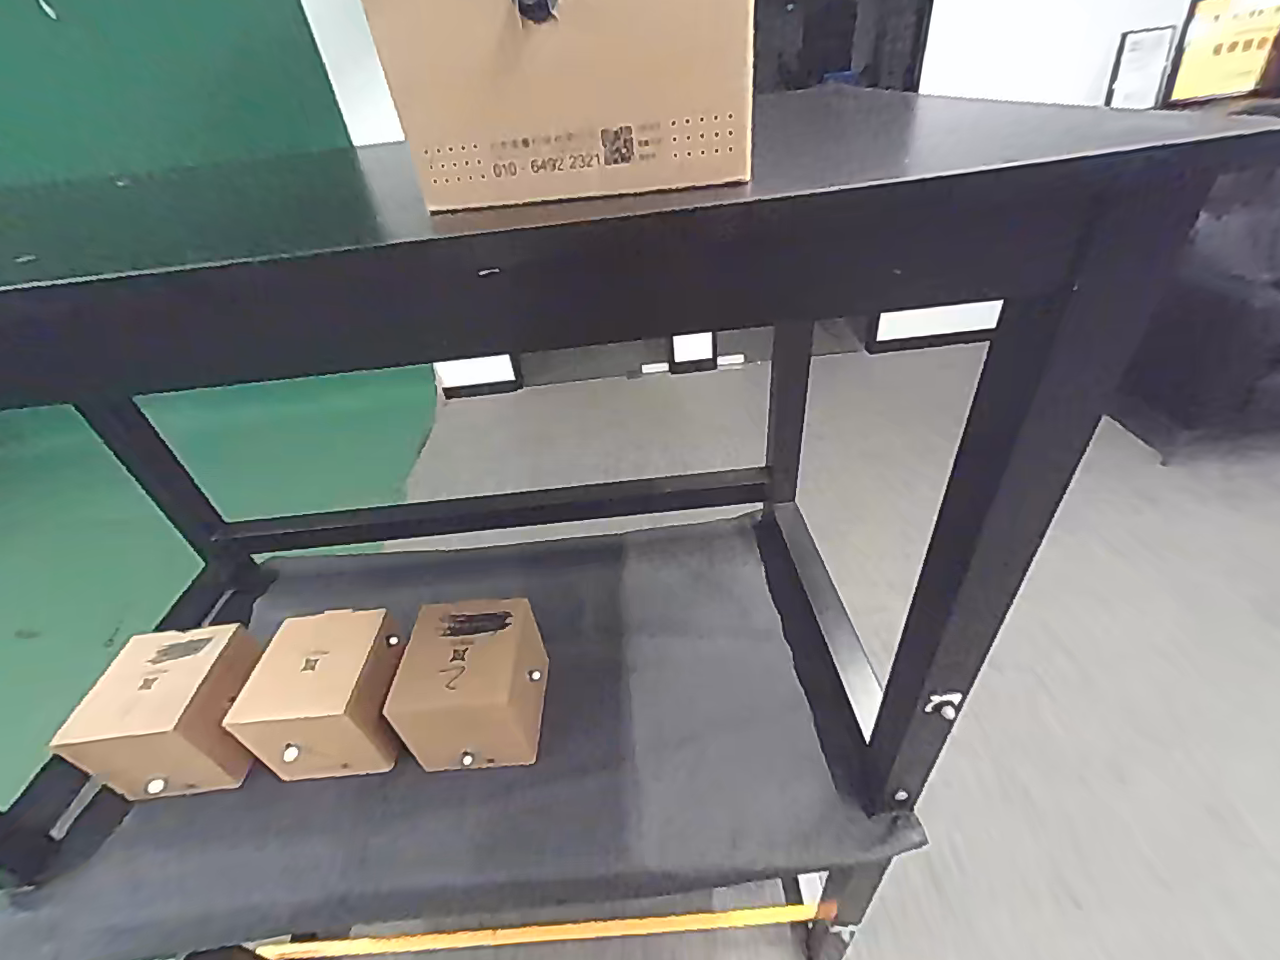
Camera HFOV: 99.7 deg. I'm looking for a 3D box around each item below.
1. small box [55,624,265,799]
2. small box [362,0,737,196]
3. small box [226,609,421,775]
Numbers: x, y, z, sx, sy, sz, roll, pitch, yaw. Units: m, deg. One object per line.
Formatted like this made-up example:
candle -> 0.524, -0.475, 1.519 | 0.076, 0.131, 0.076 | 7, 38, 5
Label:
small box -> -0.680, 0.347, 0.816 | 0.168, 0.176, 0.179 | -7, 37, 0
small box -> -0.033, -0.259, 0.288 | 0.168, 0.176, 0.179 | -1, 37, 9
small box -> -0.454, 0.322, 0.815 | 0.168, 0.176, 0.179 | -6, 36, 2
